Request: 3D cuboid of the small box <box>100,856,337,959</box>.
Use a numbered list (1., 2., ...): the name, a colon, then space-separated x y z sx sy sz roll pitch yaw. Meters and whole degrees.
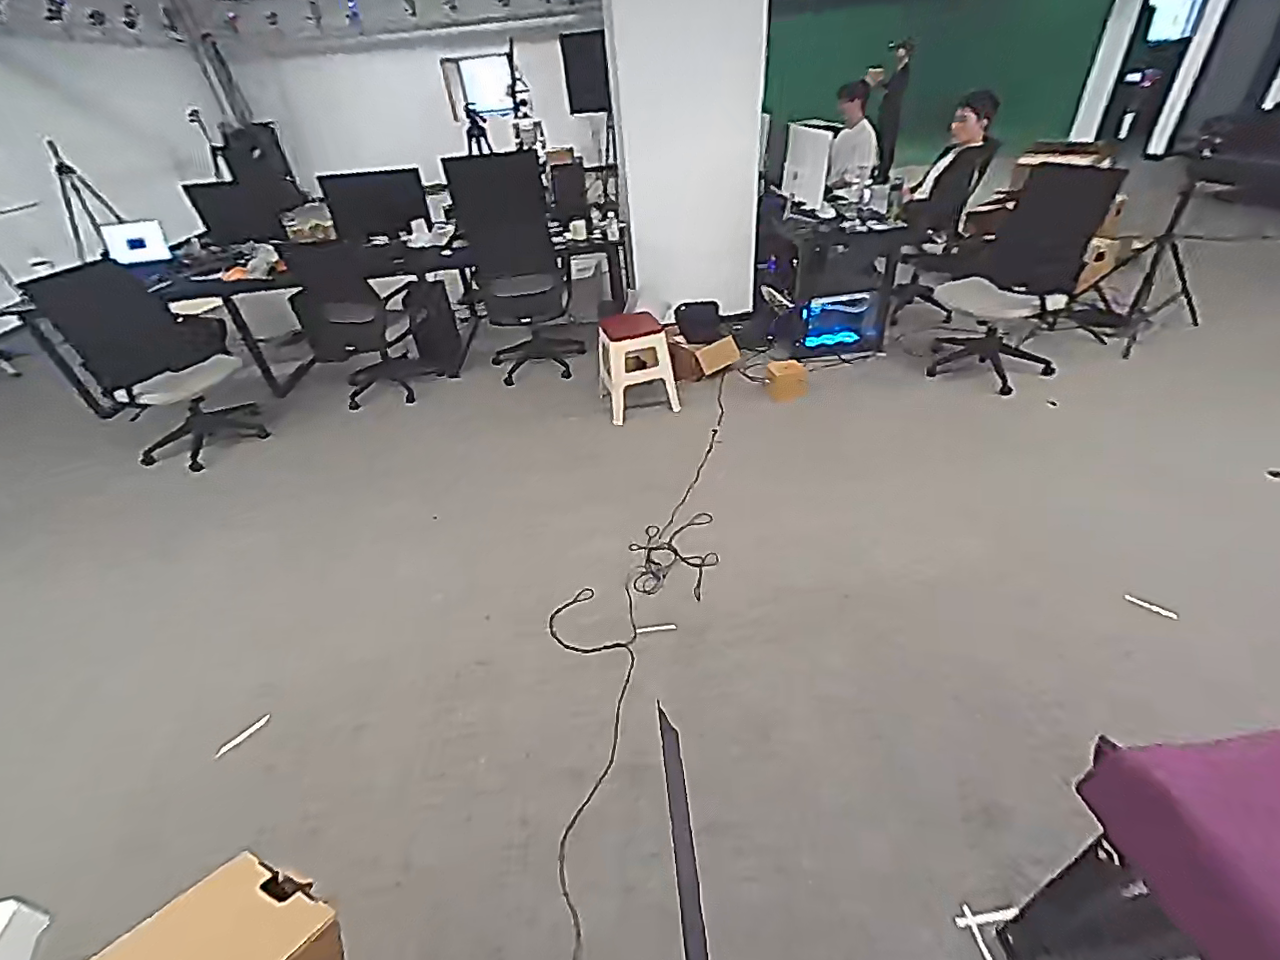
1. small box: -0.402 0.517 0.505 0.168 0.176 0.179 4 12 27
